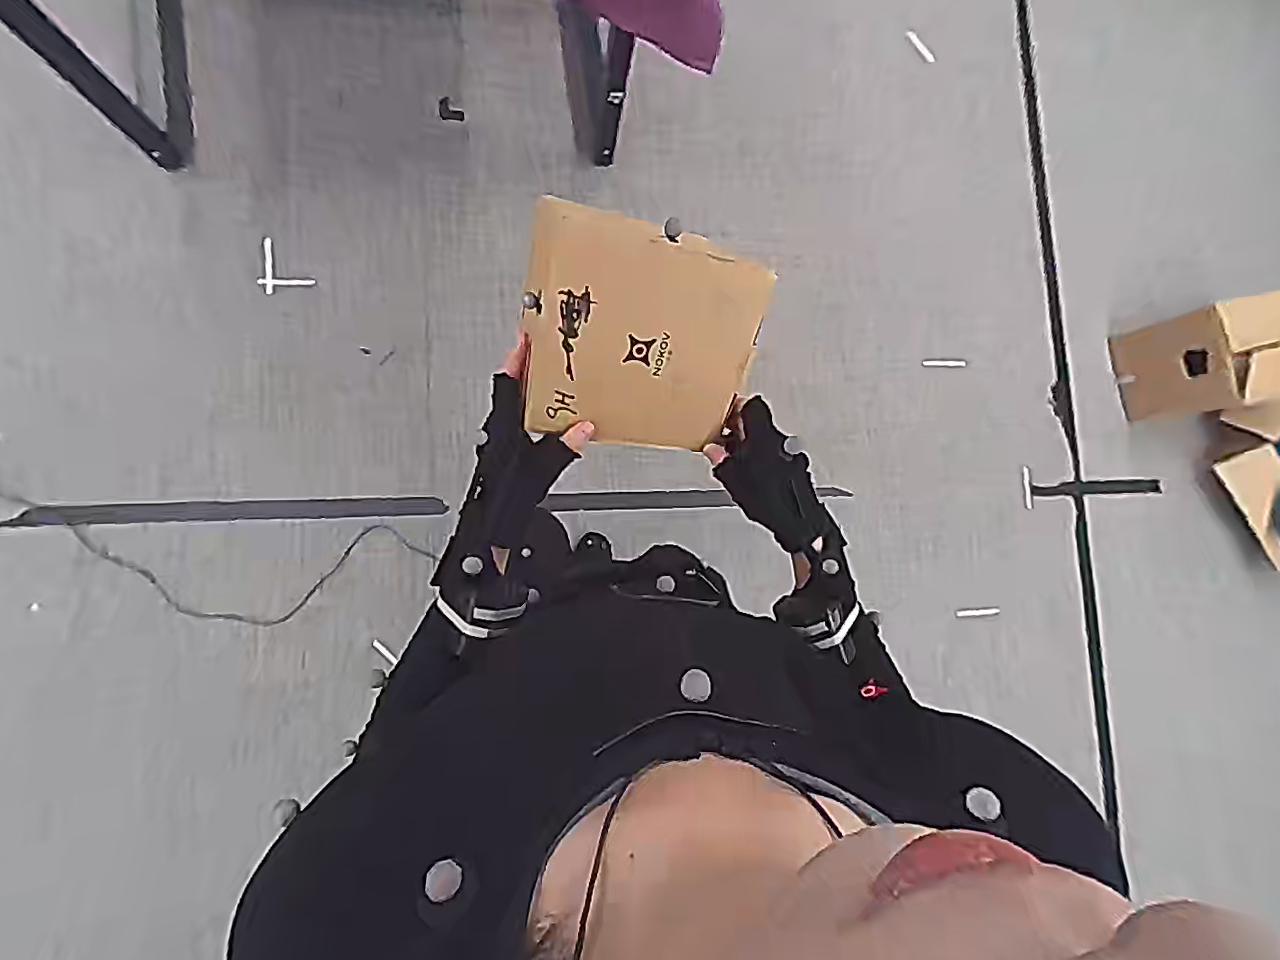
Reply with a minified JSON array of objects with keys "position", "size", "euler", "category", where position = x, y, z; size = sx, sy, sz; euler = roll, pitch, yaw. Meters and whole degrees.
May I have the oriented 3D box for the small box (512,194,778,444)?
[{"position":[-0.012,-0.148,0.490],"size":[0.179,0.176,0.168],"euler":[5,118,-20],"category":"small box"}]
